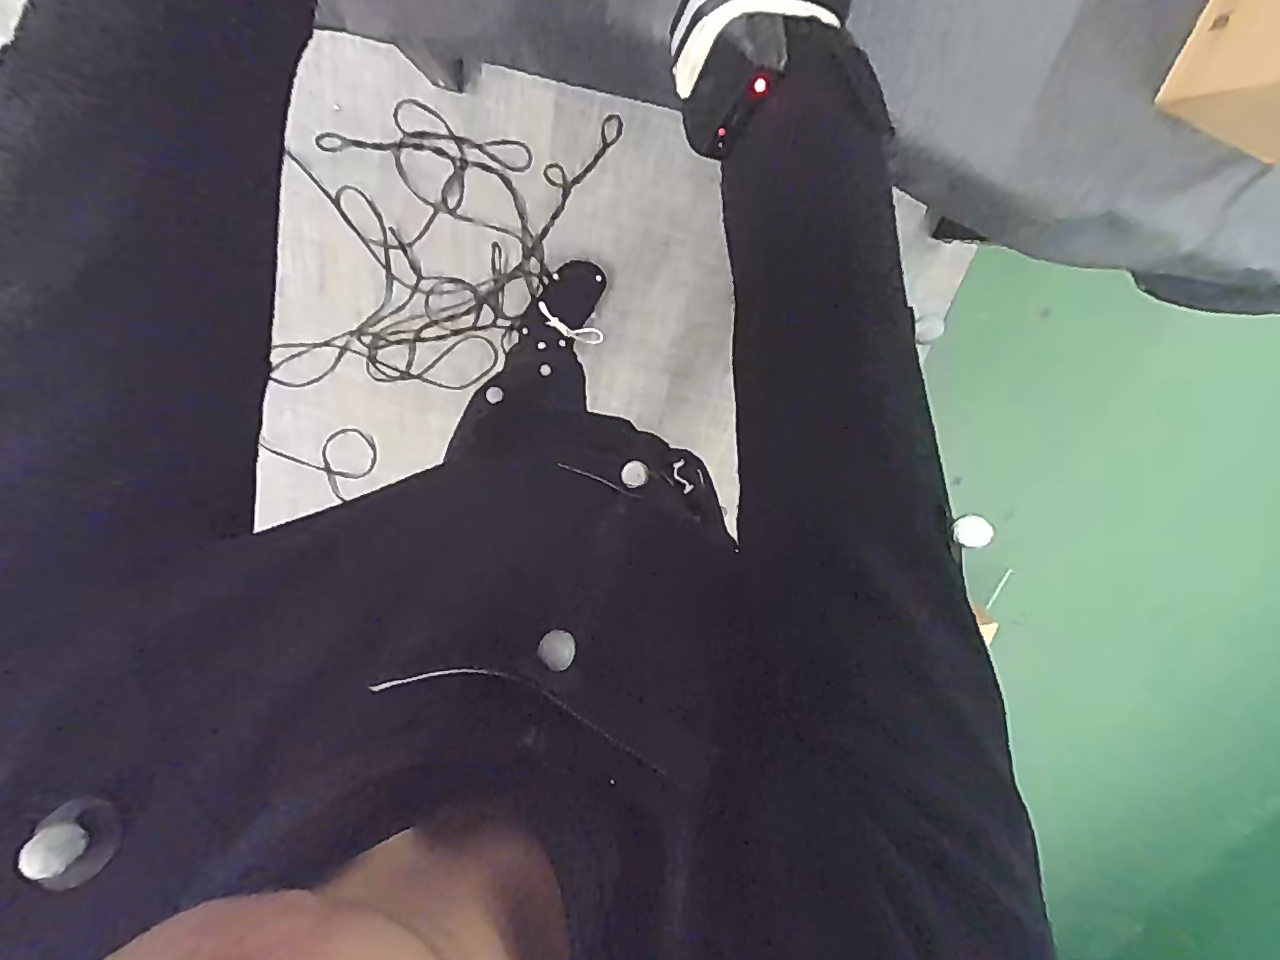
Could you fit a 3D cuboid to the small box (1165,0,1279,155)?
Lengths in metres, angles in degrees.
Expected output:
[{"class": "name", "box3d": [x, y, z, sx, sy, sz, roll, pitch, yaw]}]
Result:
[{"class": "small box", "box3d": [0.610, -0.386, 0.442, 0.179, 0.176, 0.168, 11, 114, -14]}]
